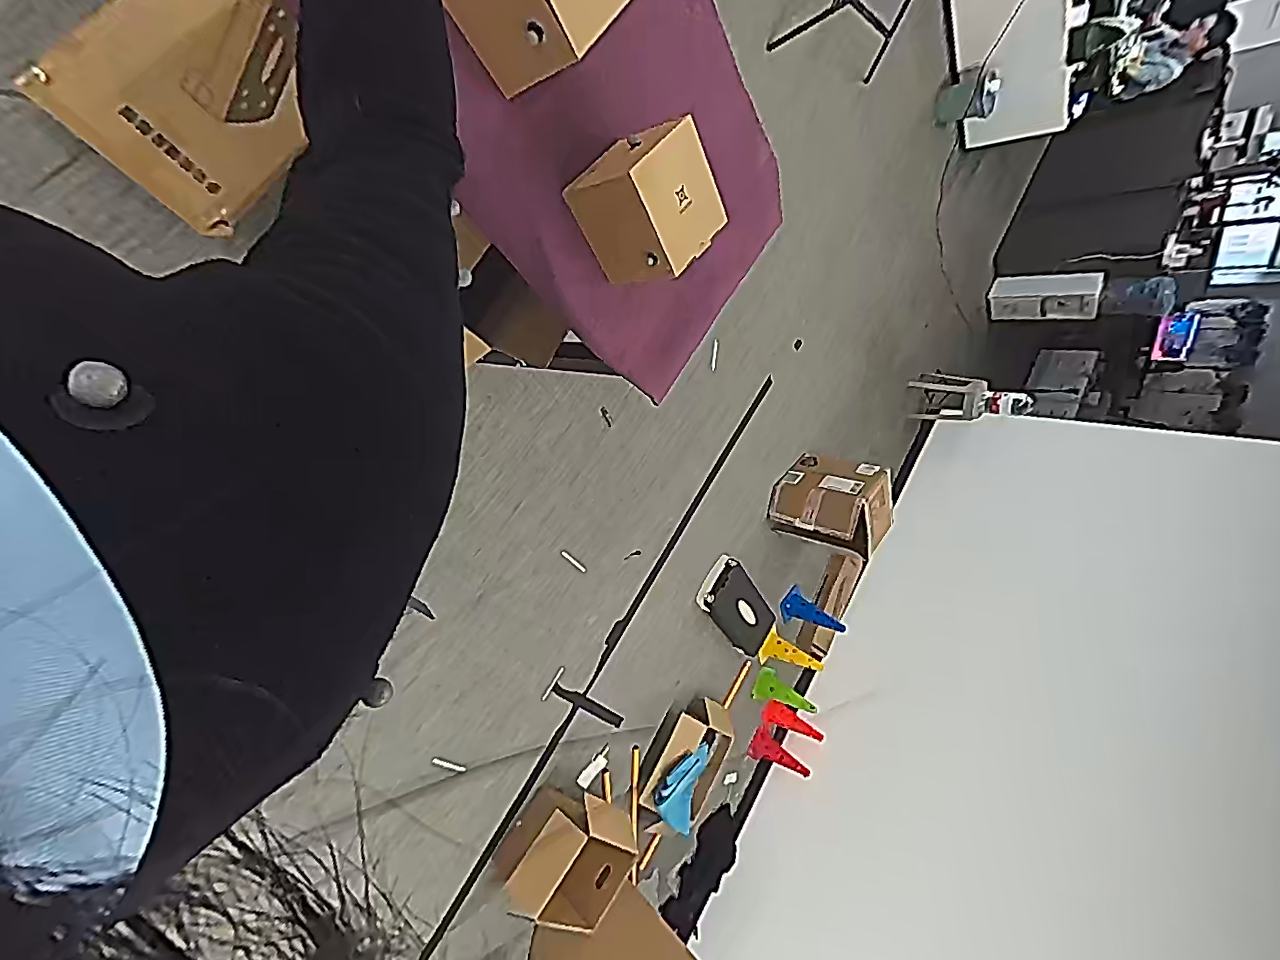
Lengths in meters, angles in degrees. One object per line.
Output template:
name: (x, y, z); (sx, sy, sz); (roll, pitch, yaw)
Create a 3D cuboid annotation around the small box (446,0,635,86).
small box: (-0.136, -0.646, 0.690); (0.179, 0.176, 0.168); (47, 66, -42)

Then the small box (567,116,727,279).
small box: (0.011, -0.456, 0.898); (0.168, 0.176, 0.179); (-53, 133, -21)
